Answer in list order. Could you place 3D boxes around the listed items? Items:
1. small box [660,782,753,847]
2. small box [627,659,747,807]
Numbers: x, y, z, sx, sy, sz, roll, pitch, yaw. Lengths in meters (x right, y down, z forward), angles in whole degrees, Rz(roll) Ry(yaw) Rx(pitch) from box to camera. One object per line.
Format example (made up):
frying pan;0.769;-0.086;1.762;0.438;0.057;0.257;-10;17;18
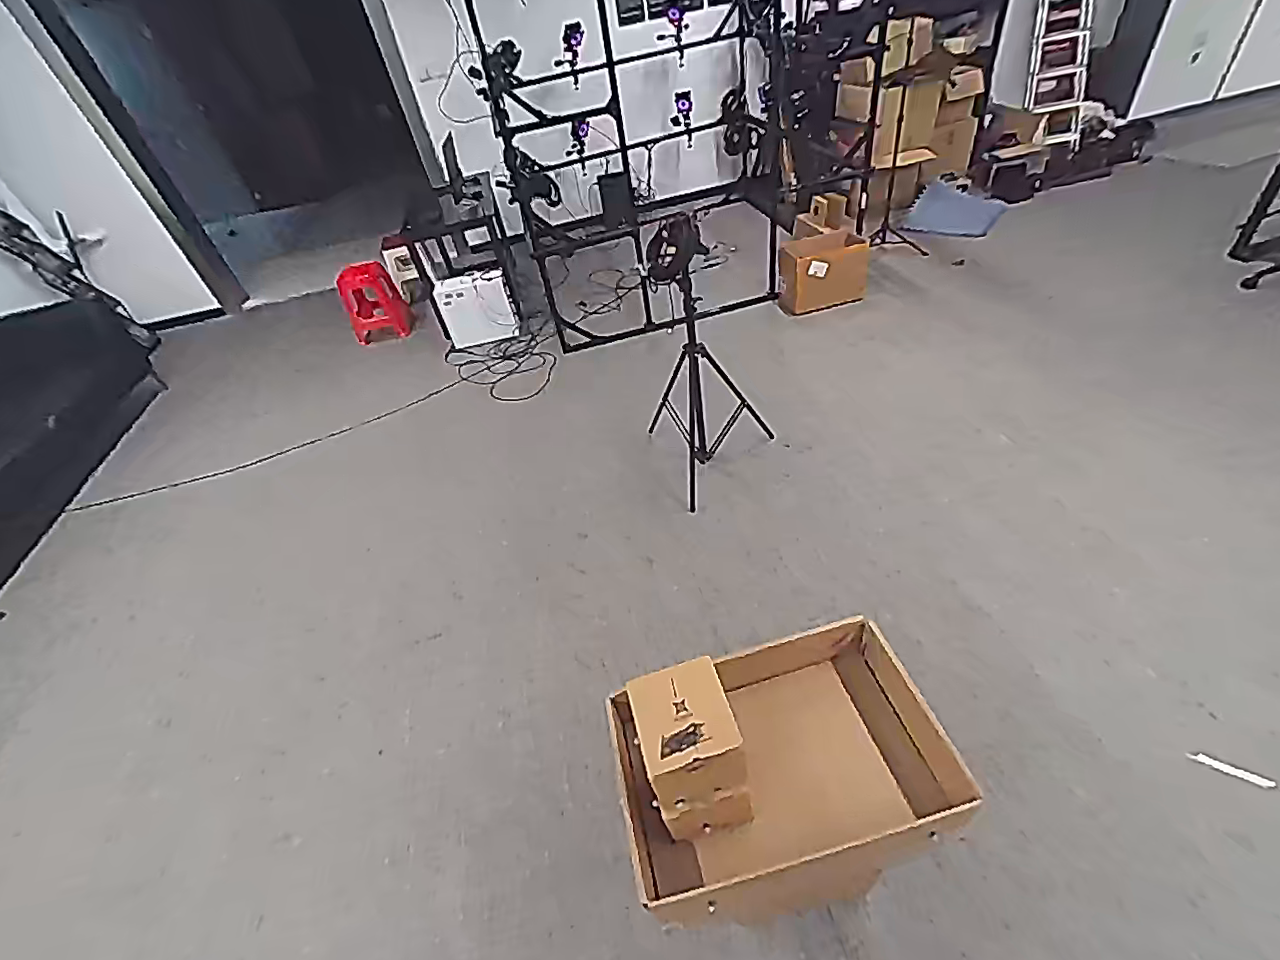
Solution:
small box;0.116;0.590;1.077;0.168;0.176;0.179;-17;42;-4
small box;0.087;0.463;0.977;0.168;0.176;0.179;-17;41;-4
